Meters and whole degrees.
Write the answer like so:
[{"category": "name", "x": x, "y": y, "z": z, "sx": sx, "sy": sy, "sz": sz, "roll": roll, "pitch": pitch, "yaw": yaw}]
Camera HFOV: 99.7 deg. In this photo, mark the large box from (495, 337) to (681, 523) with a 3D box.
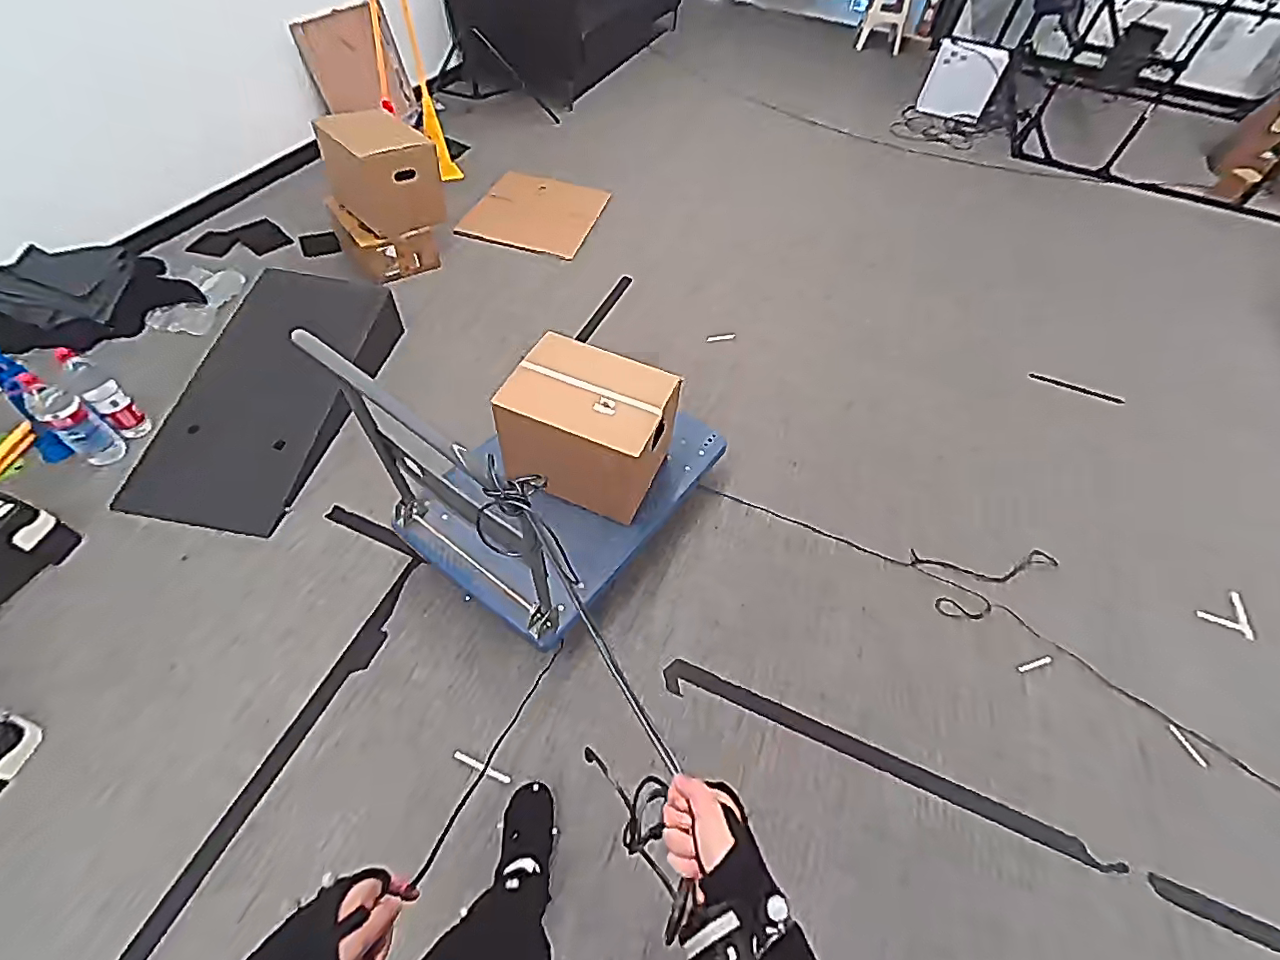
[{"category": "large box", "x": -0.143, "y": -0.138, "z": 1.514, "sx": 0.408, "sy": 0.320, "sz": 0.320, "roll": 21, "pitch": 55, "yaw": 9}]
